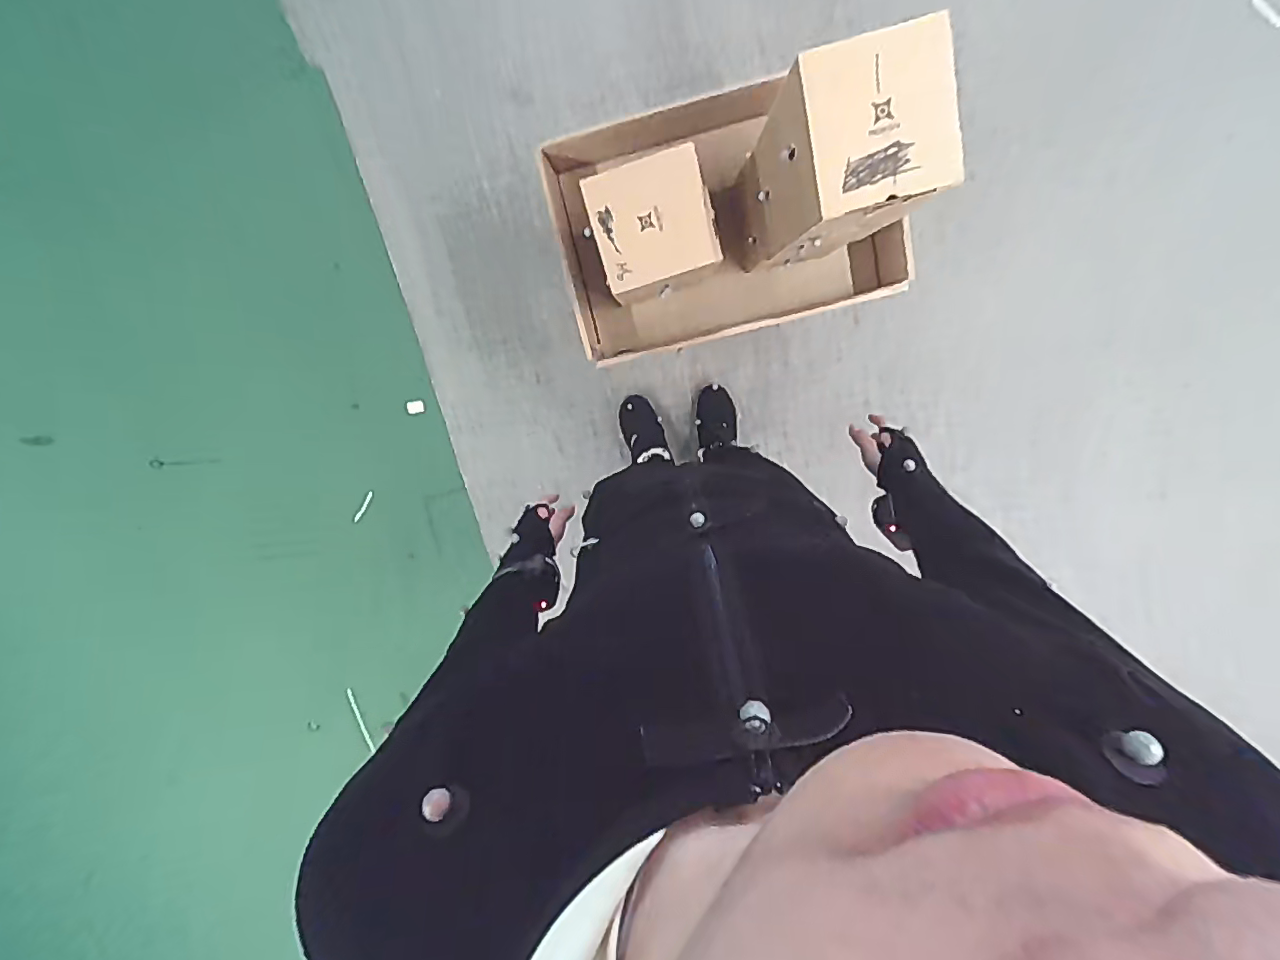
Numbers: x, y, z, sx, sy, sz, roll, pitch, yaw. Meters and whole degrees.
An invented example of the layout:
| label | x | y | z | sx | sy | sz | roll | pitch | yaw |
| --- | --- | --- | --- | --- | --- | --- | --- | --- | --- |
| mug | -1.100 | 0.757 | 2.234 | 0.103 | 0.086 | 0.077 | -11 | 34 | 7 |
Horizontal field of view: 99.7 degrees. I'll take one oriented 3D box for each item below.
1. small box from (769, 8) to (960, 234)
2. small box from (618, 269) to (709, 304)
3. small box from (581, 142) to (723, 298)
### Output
| label | x | y | z | sx | sy | sz | roll | pitch | yaw |
| --- | --- | --- | --- | --- | --- | --- | --- | --- | --- |
| small box | 0.269 | -0.424 | 0.678 | 0.168 | 0.176 | 0.179 | -13 | 102 | 5 |
| small box | 0.023 | -0.440 | 1.022 | 0.179 | 0.176 | 0.168 | -14 | 103 | 4 |
| small box | 0.018 | -0.401 | 0.863 | 0.179 | 0.176 | 0.168 | -16 | 103 | 5 |
